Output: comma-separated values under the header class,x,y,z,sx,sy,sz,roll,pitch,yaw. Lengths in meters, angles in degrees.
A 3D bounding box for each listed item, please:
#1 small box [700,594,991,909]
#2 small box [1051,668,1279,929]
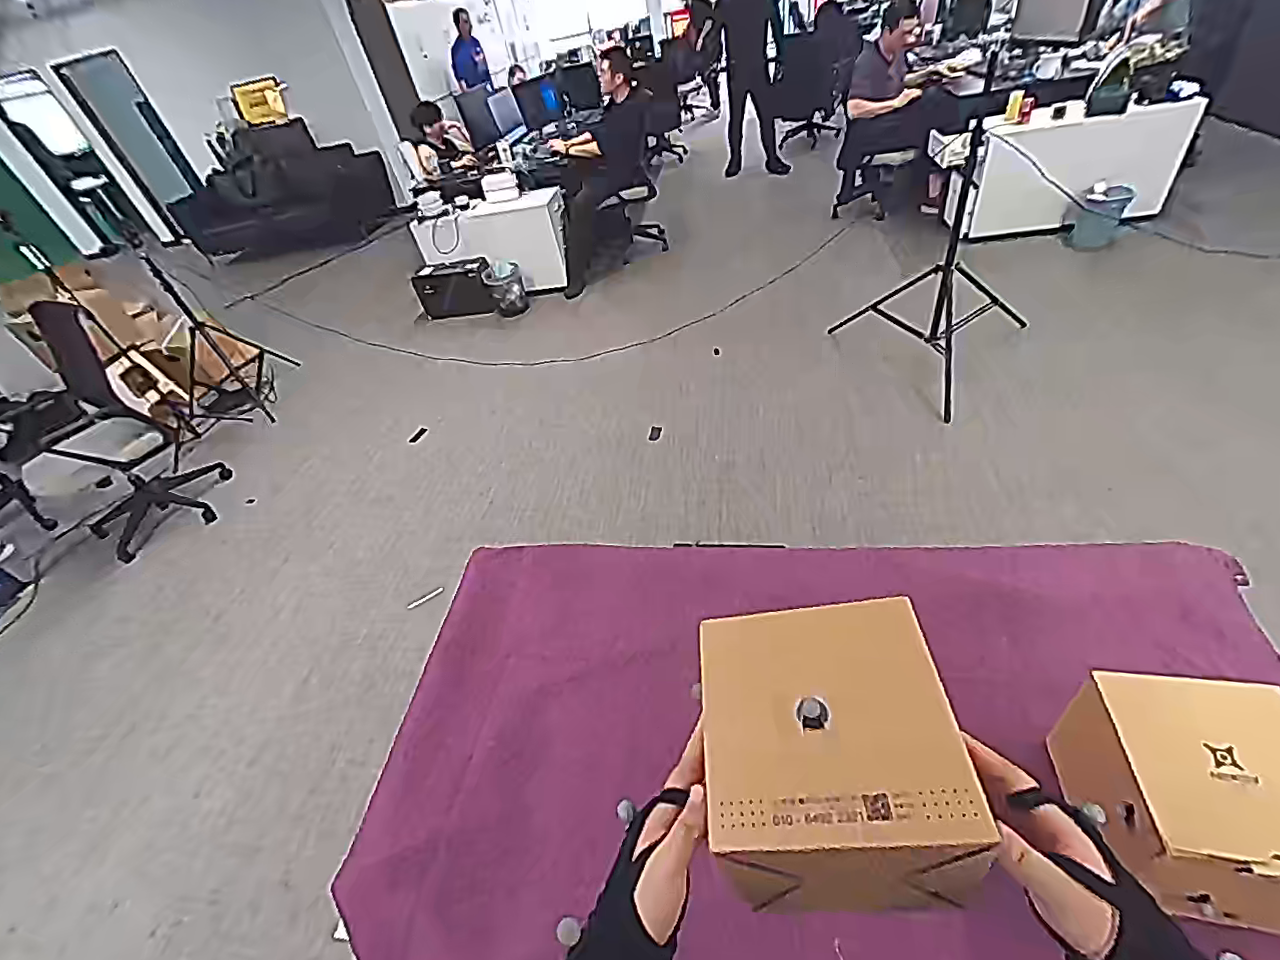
class,x,y,z,sx,sy,sz,roll,pitch,yaw
small box,0.149,0.217,0.427,0.168,0.179,0.176,-10,42,13
small box,0.569,0.326,0.564,0.168,0.176,0.179,0,42,16
